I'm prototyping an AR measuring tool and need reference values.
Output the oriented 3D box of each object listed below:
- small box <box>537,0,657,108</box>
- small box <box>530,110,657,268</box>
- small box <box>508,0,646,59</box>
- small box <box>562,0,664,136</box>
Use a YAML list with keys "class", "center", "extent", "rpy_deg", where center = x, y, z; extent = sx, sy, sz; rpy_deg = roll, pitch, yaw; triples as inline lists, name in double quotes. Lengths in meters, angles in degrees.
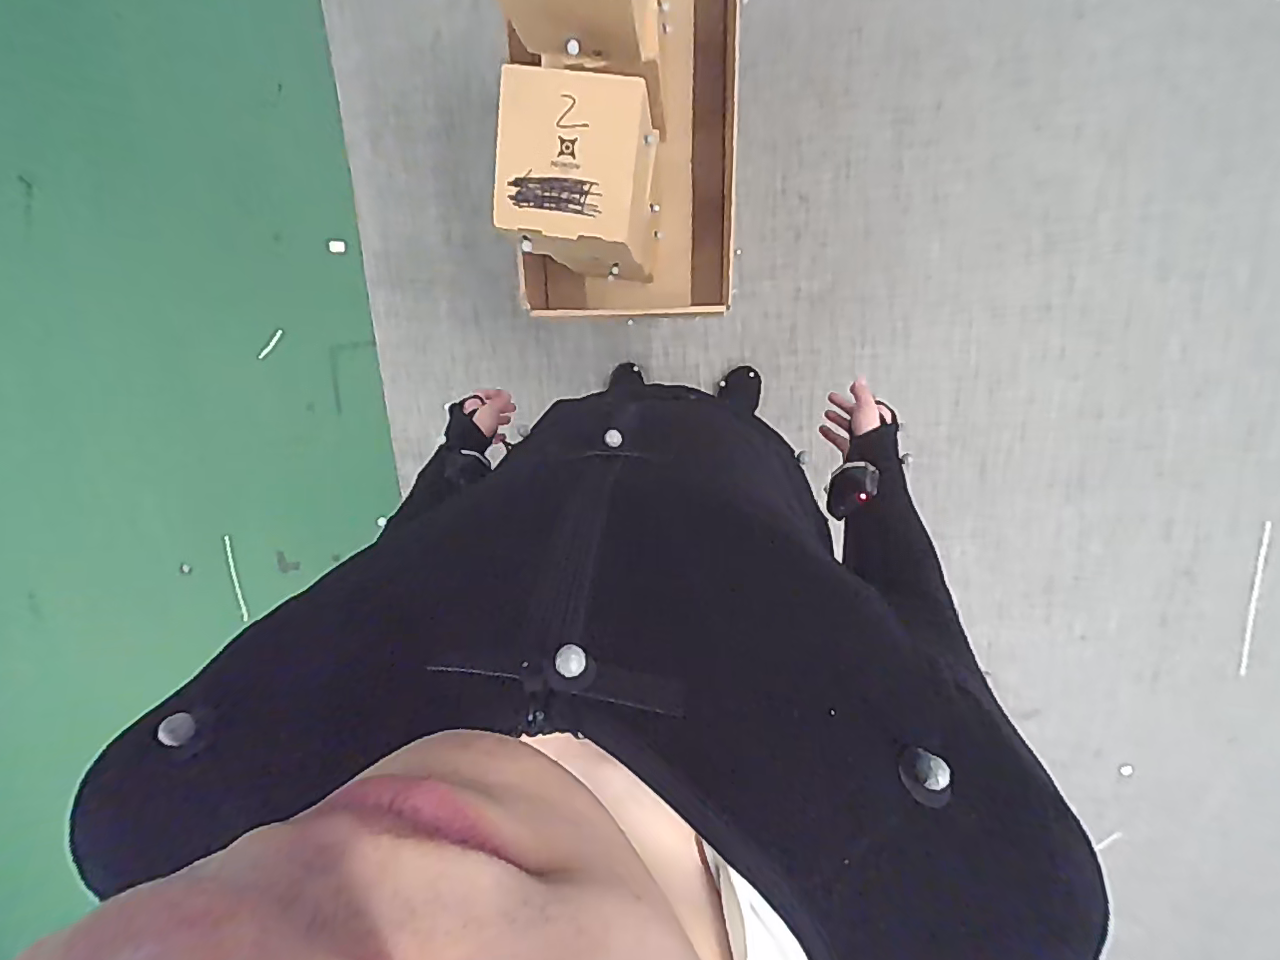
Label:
- class: "small box"
  center: [-0.060, -0.691, 0.807]
  extent: [0.168, 0.176, 0.179]
  rpy_deg: [-1, 106, 4]
- class: "small box"
  center: [-0.066, -0.449, 0.864]
  extent: [0.168, 0.176, 0.179]
  rpy_deg: [10, 103, 2]
- class: "small box"
  center: [-0.077, -0.653, 0.649]
  extent: [0.168, 0.176, 0.179]
  rpy_deg: [8, 107, 3]
- class: "small box"
  center: [-0.045, -0.735, 0.962]
  extent: [0.168, 0.176, 0.179]
  rpy_deg: [0, 106, 6]
